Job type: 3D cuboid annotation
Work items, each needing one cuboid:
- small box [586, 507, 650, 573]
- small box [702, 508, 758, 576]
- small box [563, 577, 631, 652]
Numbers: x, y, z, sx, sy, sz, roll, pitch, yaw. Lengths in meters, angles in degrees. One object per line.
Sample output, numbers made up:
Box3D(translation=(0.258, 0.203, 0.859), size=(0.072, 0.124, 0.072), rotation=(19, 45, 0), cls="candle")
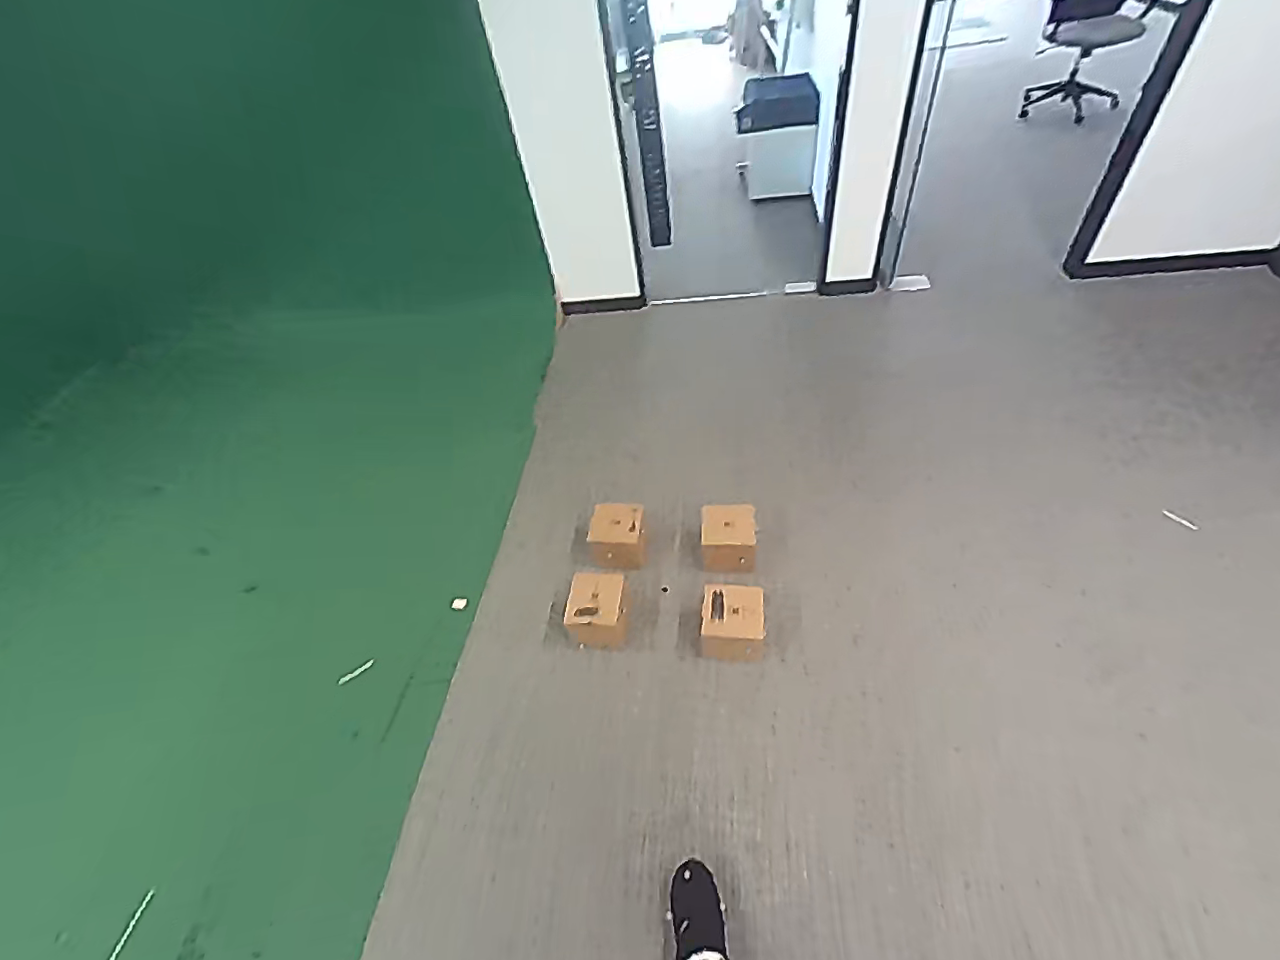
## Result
Box3D(translation=(-0.070, 0.211, 1.886), size=(0.179, 0.176, 0.168), rotation=(1, 48, 12), cls="small box")
Box3D(translation=(0.302, 0.212, 1.819), size=(0.179, 0.176, 0.168), rotation=(-1, 47, 10), cls="small box")
Box3D(translation=(-0.127, 0.425, 1.700), size=(0.168, 0.176, 0.179), rotation=(1, 47, 10), cls="small box")
